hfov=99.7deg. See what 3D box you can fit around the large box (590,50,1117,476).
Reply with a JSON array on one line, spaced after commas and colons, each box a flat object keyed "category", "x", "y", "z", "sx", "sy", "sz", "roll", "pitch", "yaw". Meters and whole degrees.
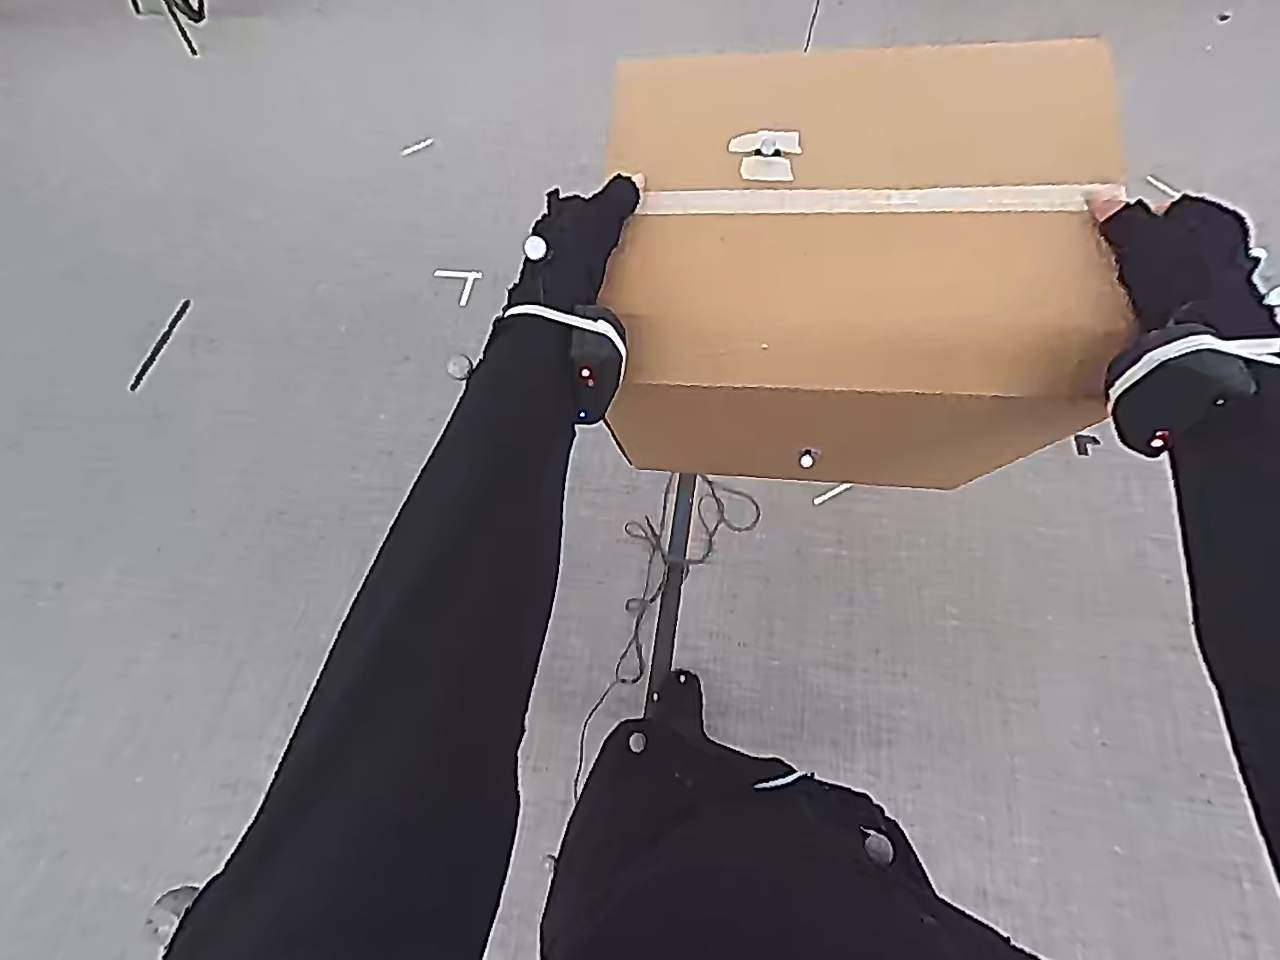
[{"category": "large box", "x": 0.189, "y": -0.191, "z": 0.597, "sx": 0.408, "sy": 0.320, "sz": 0.320, "roll": 4, "pitch": 77, "yaw": 10}]
